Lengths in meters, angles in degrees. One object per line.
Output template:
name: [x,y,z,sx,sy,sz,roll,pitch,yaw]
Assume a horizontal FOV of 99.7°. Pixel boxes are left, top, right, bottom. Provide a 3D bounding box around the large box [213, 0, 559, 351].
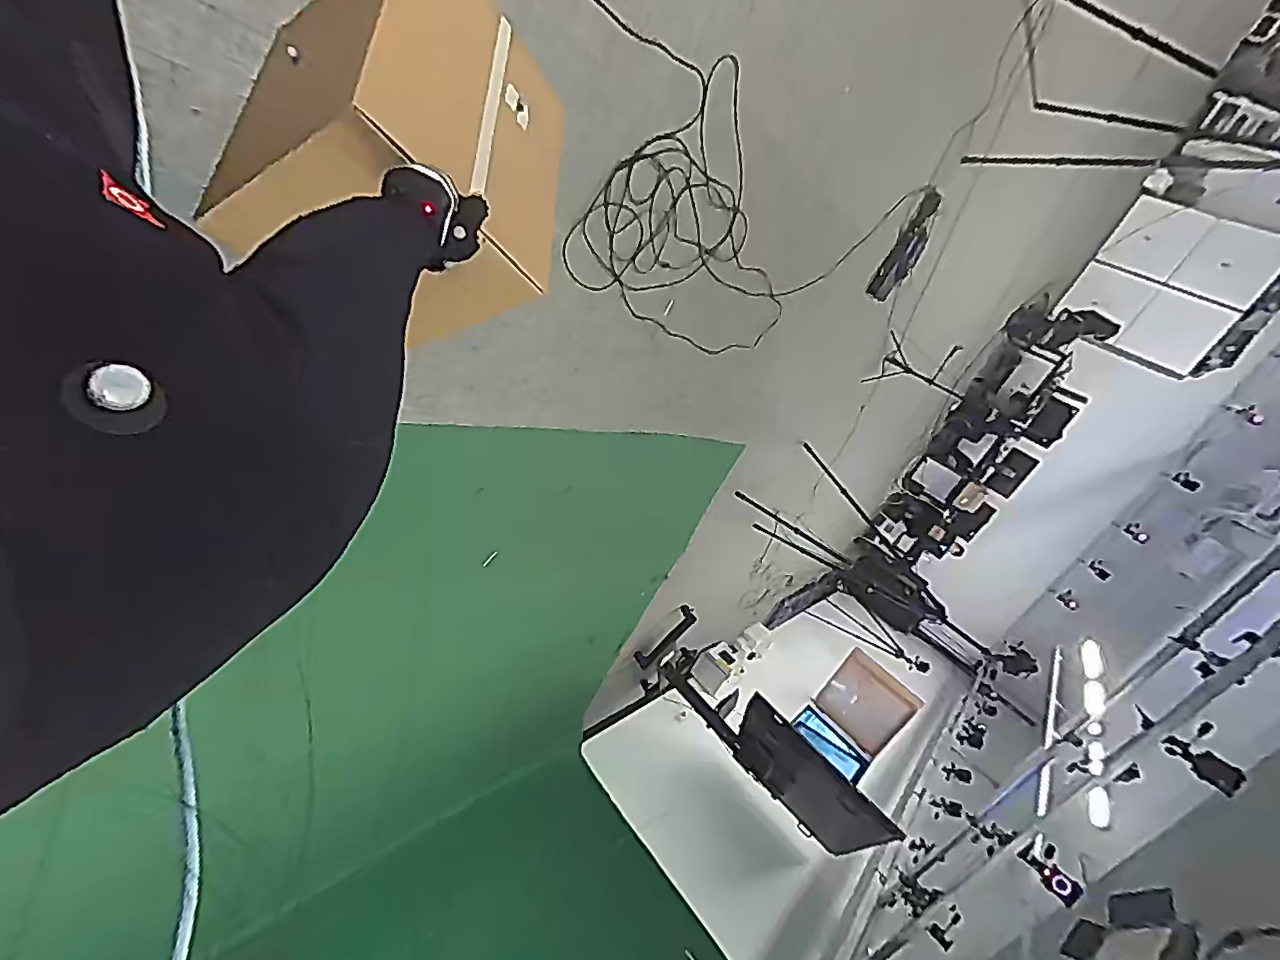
large box: [-0.344,-0.472,0.808,0.320,0.408,0.320,-11,155,26]
